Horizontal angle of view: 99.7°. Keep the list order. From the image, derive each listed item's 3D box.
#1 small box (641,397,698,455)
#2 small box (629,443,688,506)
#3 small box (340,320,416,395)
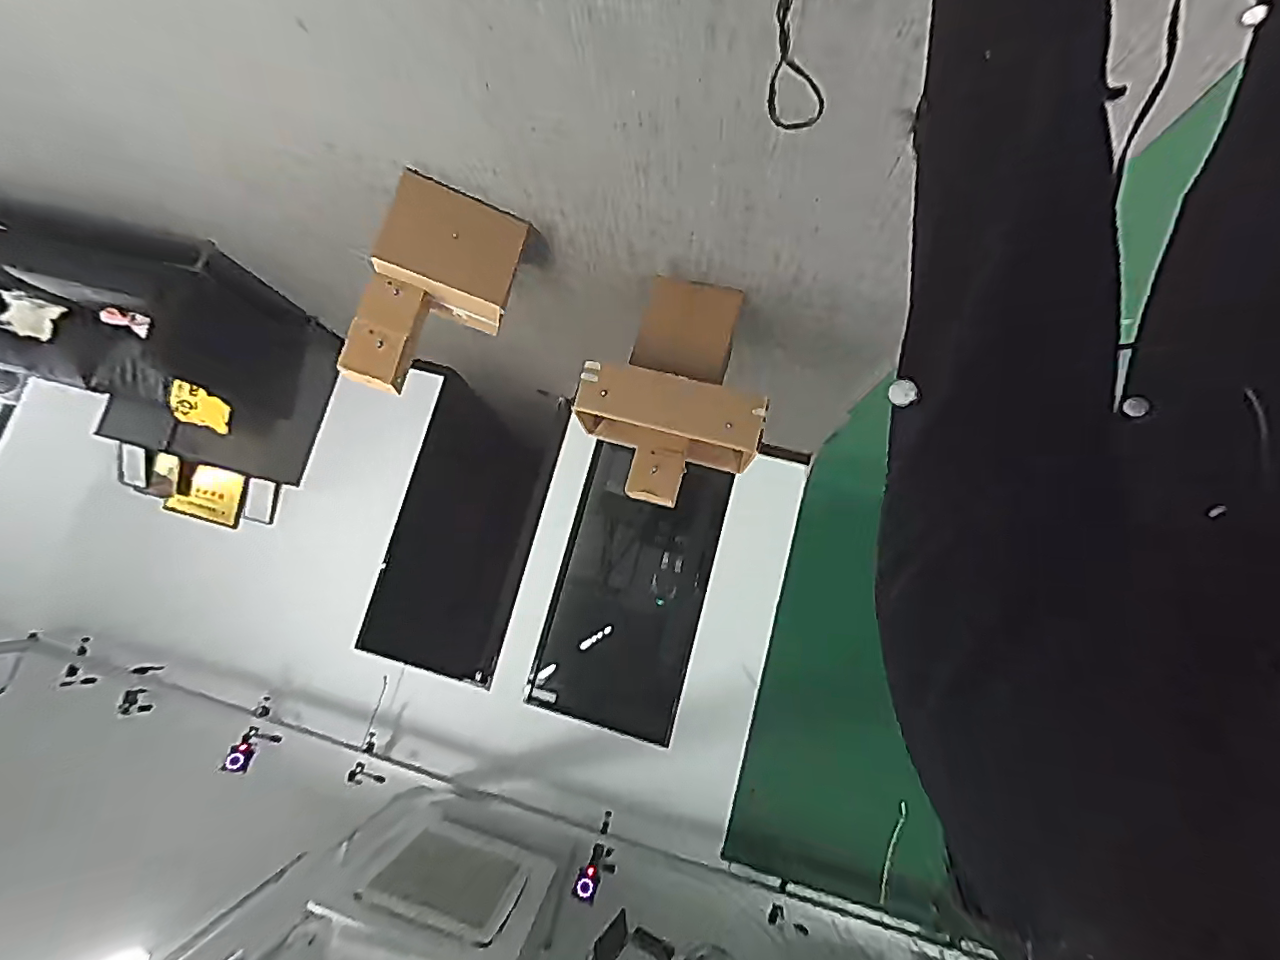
[{"bbox_3d":[0.106,-0.176,1.917,0.168,0.176,0.179,14,171,6],"label":"small box"},{"bbox_3d":[0.068,-0.019,1.891,0.168,0.176,0.179,14,171,9],"label":"small box"},{"bbox_3d":[-0.853,-0.400,1.778,0.168,0.176,0.179,17,172,-13],"label":"small box"}]
